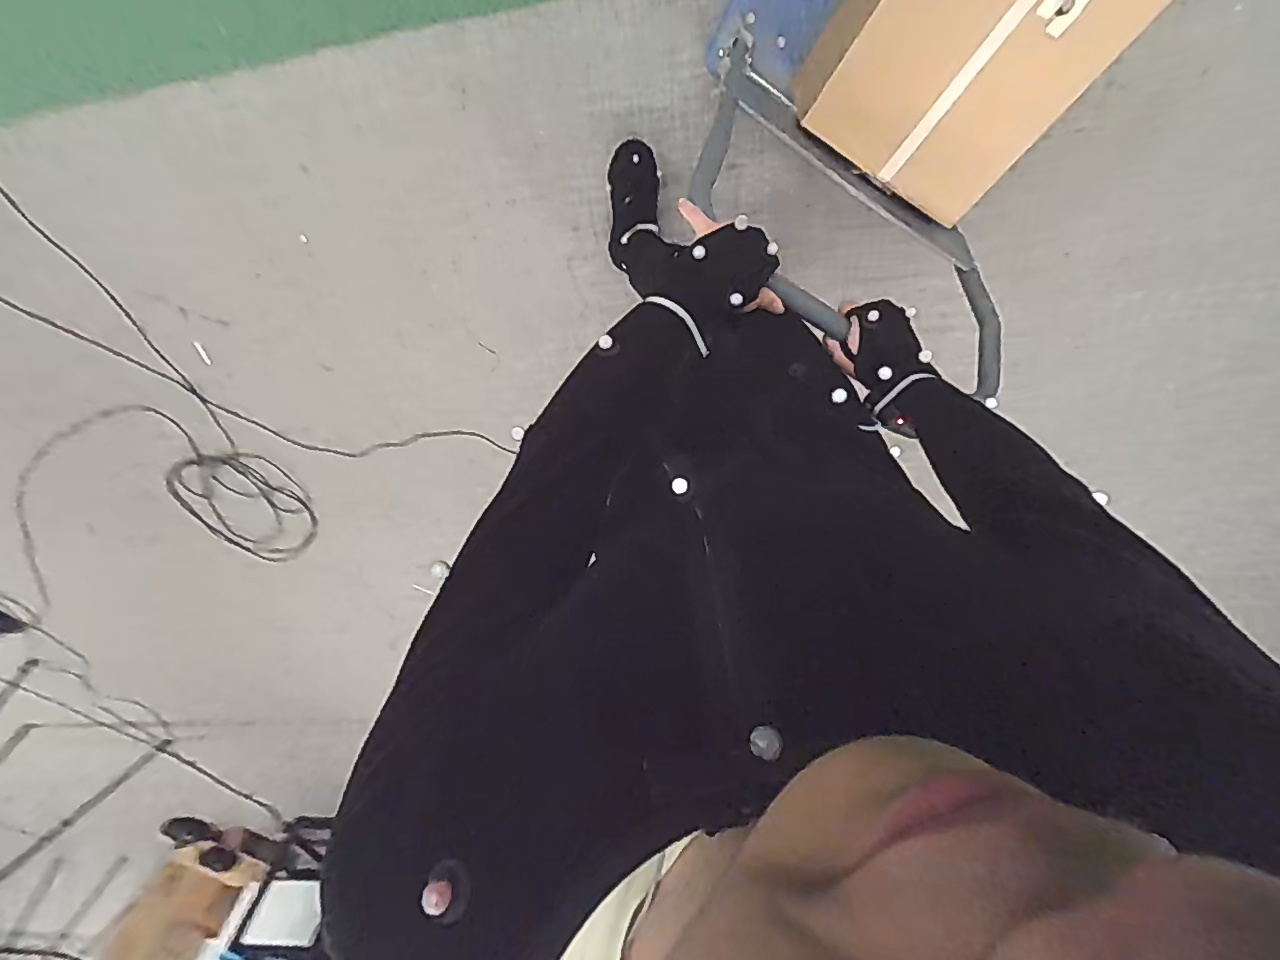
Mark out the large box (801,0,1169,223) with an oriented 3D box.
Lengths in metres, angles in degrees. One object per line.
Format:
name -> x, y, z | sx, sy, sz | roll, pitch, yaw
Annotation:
large box -> 0.499, -0.701, 0.827 | 0.320, 0.320, 0.408 | 25, 134, -15
